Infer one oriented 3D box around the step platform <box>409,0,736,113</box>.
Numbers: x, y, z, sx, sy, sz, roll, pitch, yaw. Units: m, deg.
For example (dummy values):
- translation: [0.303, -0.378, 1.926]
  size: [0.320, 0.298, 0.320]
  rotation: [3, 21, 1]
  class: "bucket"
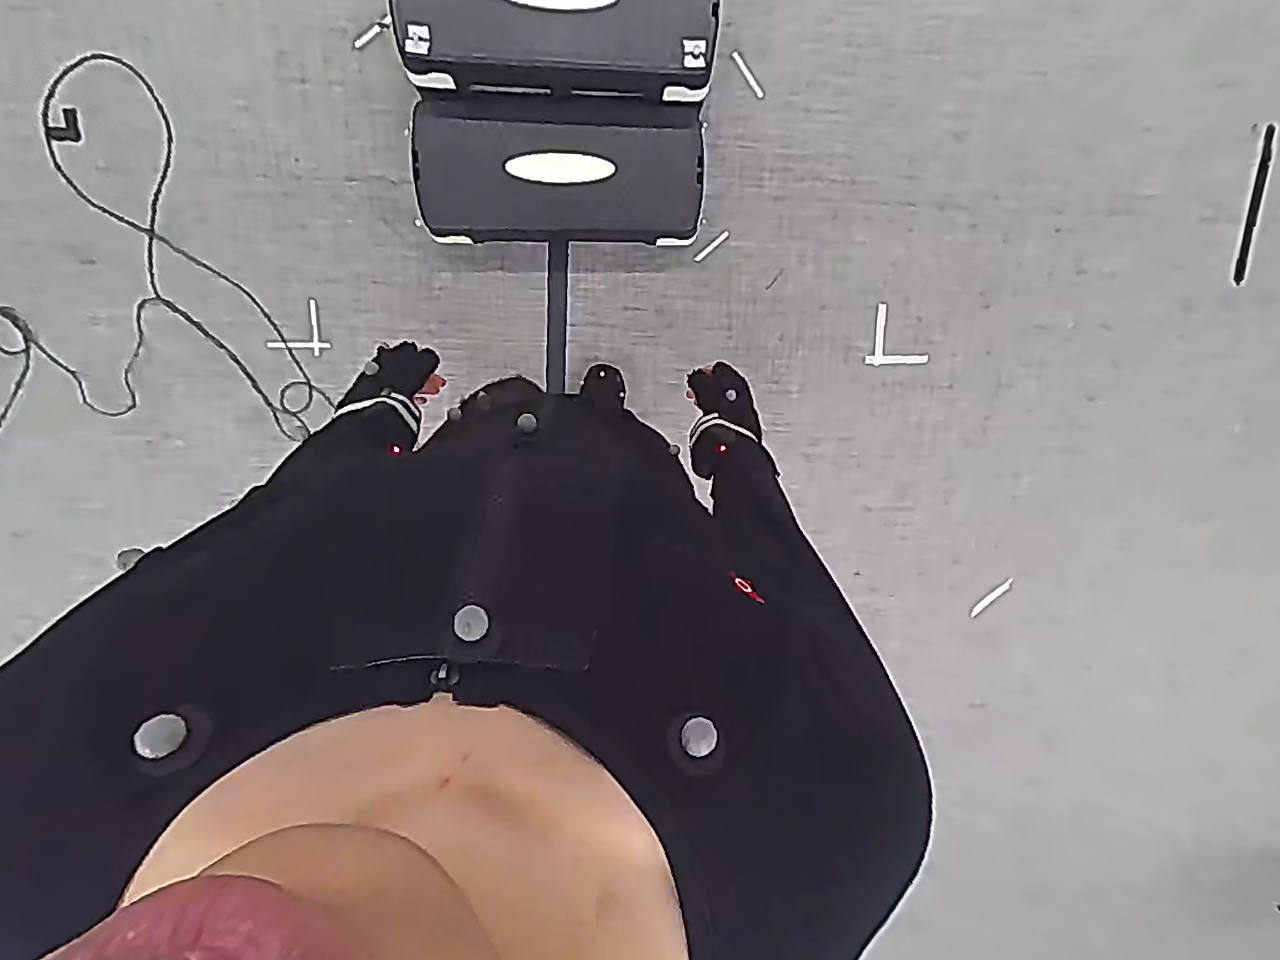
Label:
- translation: [-0.138, -1.005, 1.172]
  size: [0.684, 0.204, 0.286]
  rotation: [-1, 102, -4]
  class: "step platform"
